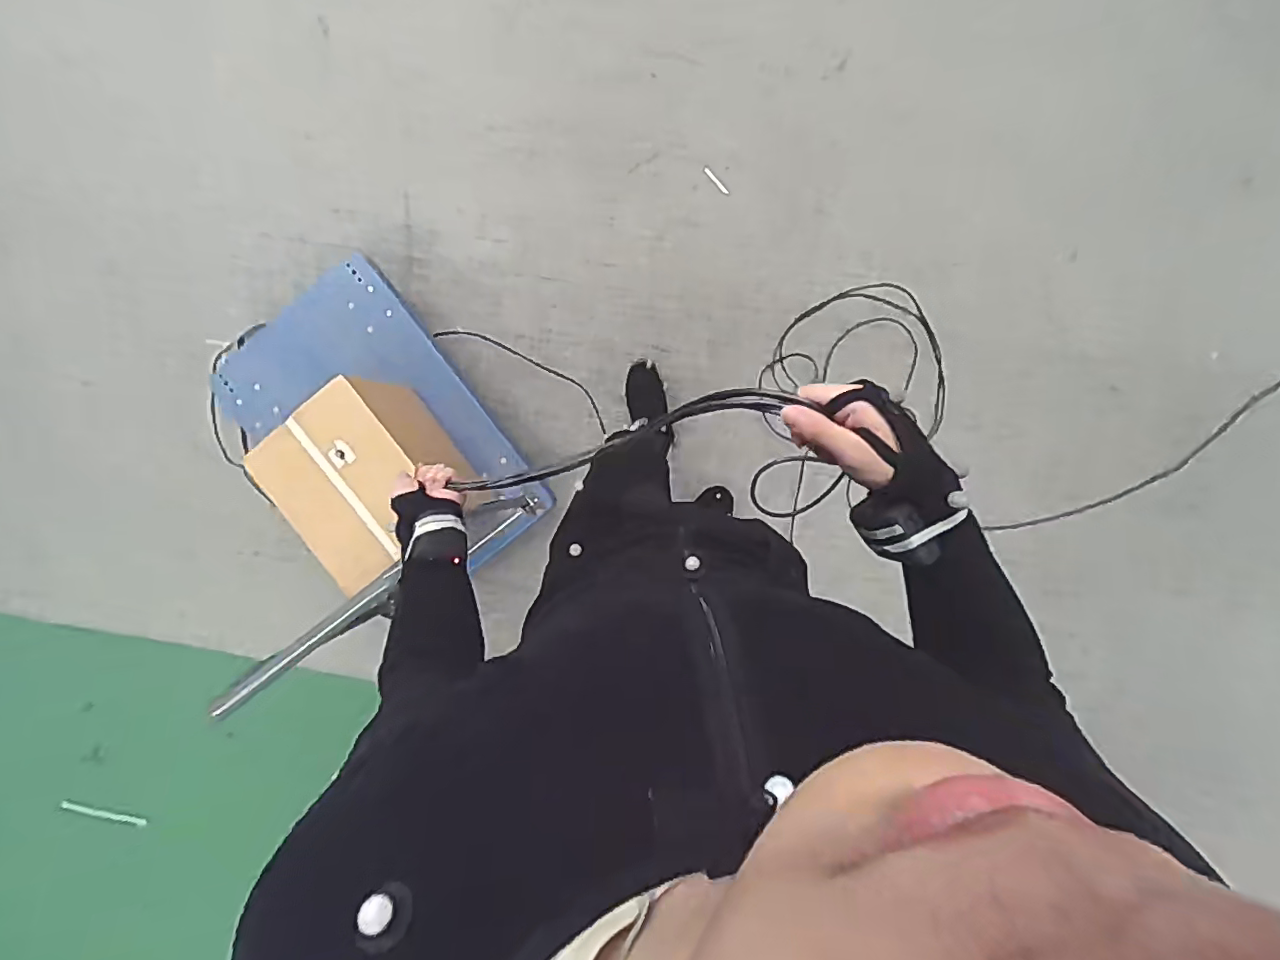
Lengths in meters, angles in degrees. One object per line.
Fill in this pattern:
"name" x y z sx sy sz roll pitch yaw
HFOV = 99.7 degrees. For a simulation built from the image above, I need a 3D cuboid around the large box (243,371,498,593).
"large box" -0.627 -0.004 1.327 0.320 0.320 0.408 -37 91 6
